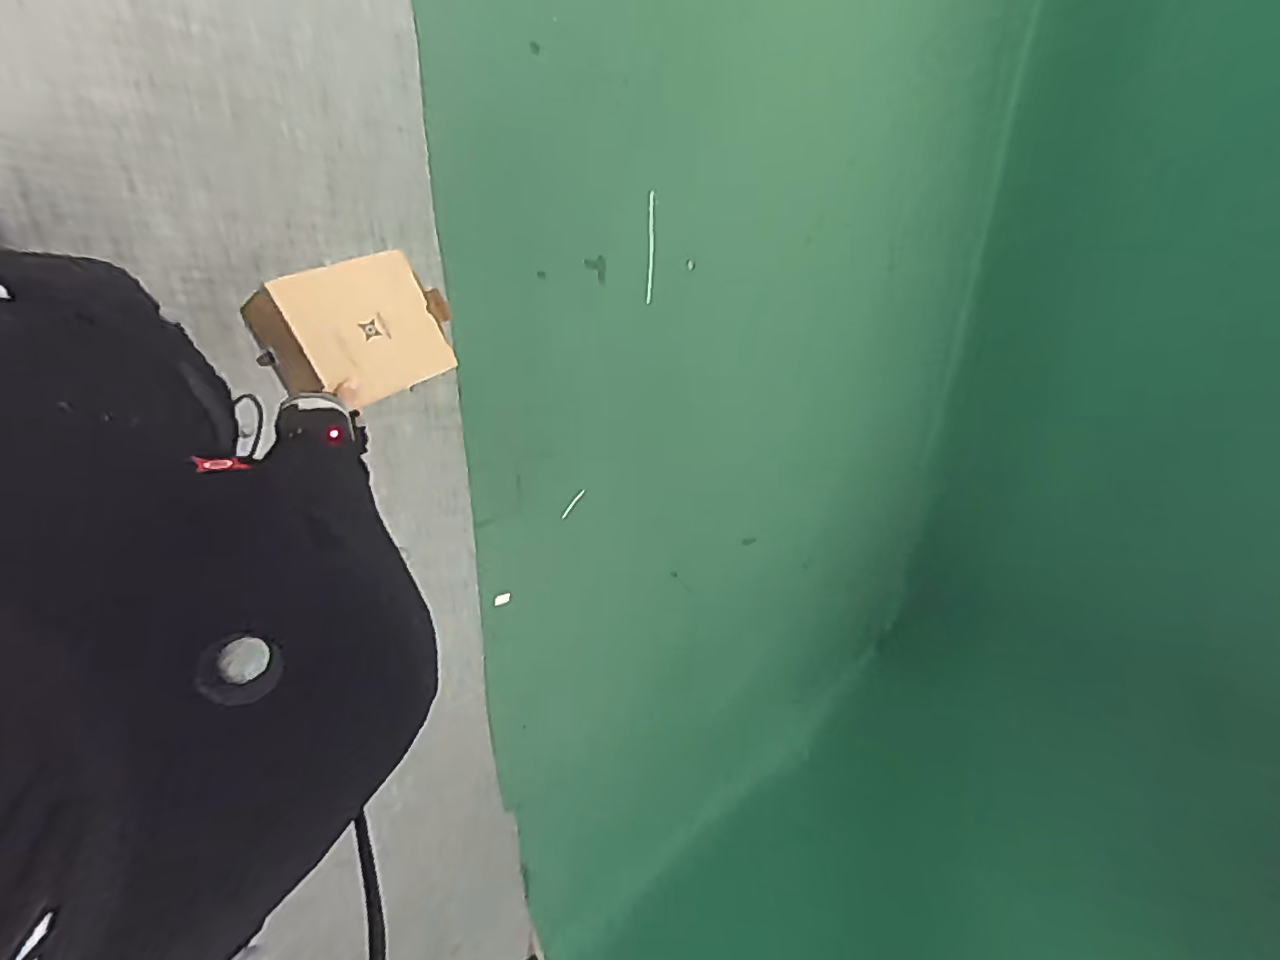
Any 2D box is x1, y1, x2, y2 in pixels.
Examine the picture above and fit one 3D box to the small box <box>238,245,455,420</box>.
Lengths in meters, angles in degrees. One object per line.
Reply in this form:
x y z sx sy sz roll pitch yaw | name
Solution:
-0.392 -0.192 0.725 0.179 0.176 0.168 -39 116 -37 | small box
